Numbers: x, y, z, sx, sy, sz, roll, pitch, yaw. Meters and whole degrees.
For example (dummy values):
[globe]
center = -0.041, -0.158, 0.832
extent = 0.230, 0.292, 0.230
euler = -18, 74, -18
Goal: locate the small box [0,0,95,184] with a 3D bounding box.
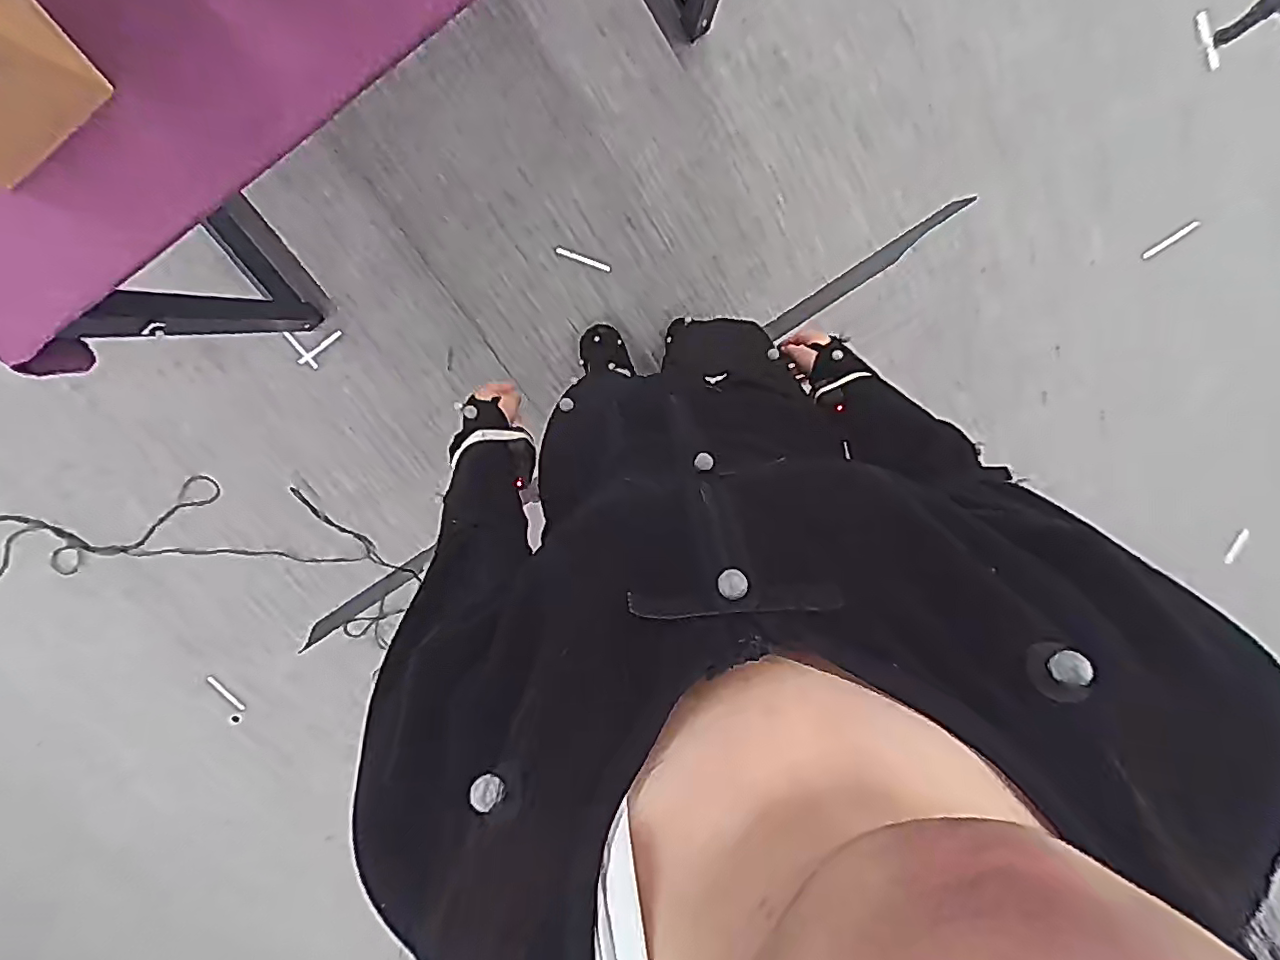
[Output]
[small box]
center = -0.678, -0.414, 0.496
extent = 0.179, 0.176, 0.168
euler = -36, 104, 6
